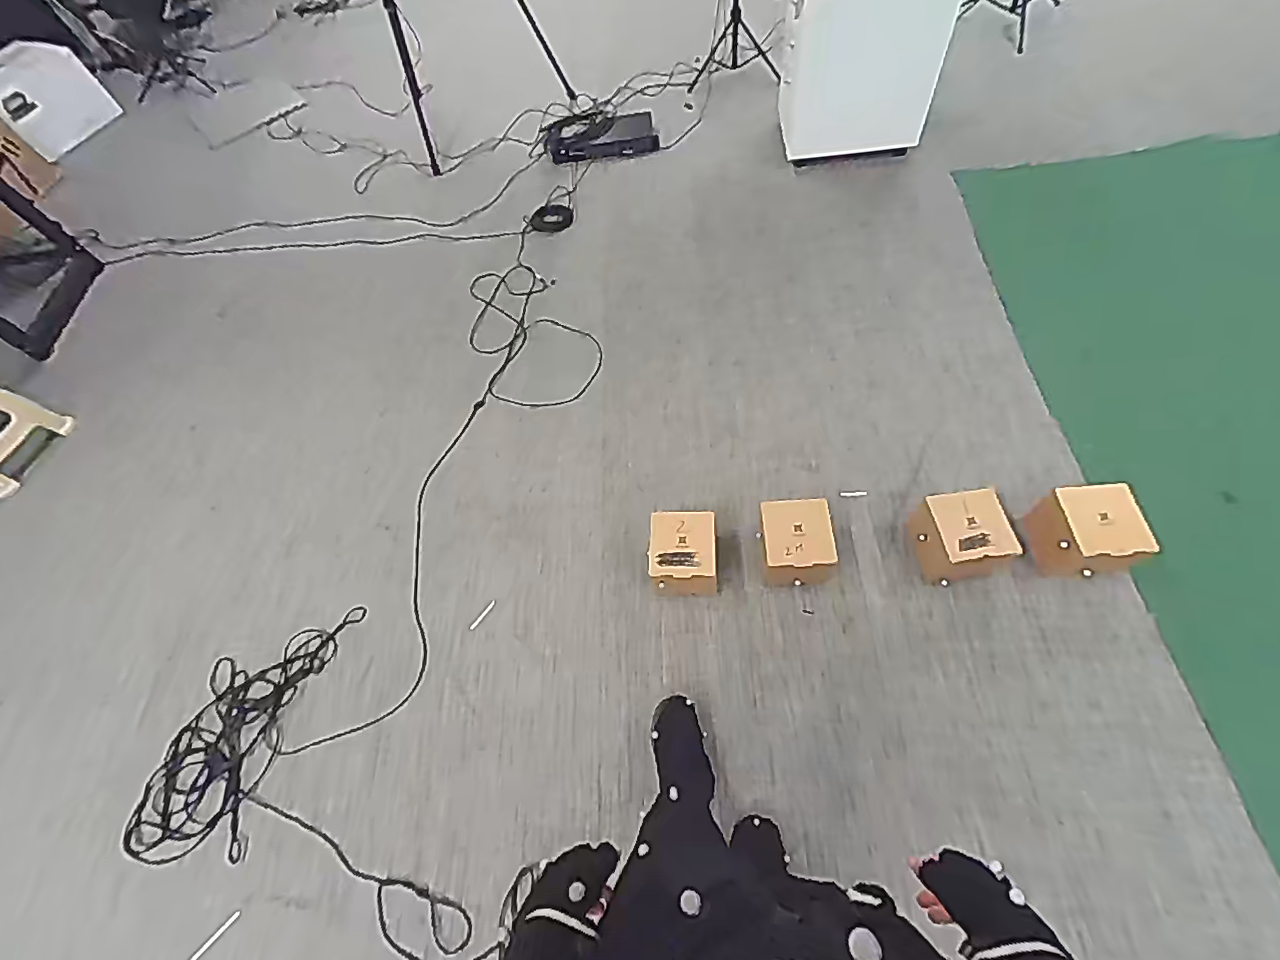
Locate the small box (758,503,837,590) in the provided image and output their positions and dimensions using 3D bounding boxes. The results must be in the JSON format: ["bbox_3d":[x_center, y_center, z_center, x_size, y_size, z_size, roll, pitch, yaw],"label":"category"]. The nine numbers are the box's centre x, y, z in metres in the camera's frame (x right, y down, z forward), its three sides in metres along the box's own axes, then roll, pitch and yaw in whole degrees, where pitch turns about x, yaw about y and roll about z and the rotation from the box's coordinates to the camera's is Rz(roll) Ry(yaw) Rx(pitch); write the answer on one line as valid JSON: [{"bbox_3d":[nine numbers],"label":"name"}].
[{"bbox_3d":[0.399,0.175,1.401,0.168,0.176,0.179,-4,61,7],"label":"small box"}]

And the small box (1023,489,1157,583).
[{"bbox_3d":[1.090,0.141,1.332,0.168,0.176,0.179,-5,60,6],"label":"small box"}]

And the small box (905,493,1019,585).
[{"bbox_3d":[0.799,0.156,1.361,0.168,0.176,0.179,-8,59,3],"label":"small box"}]
